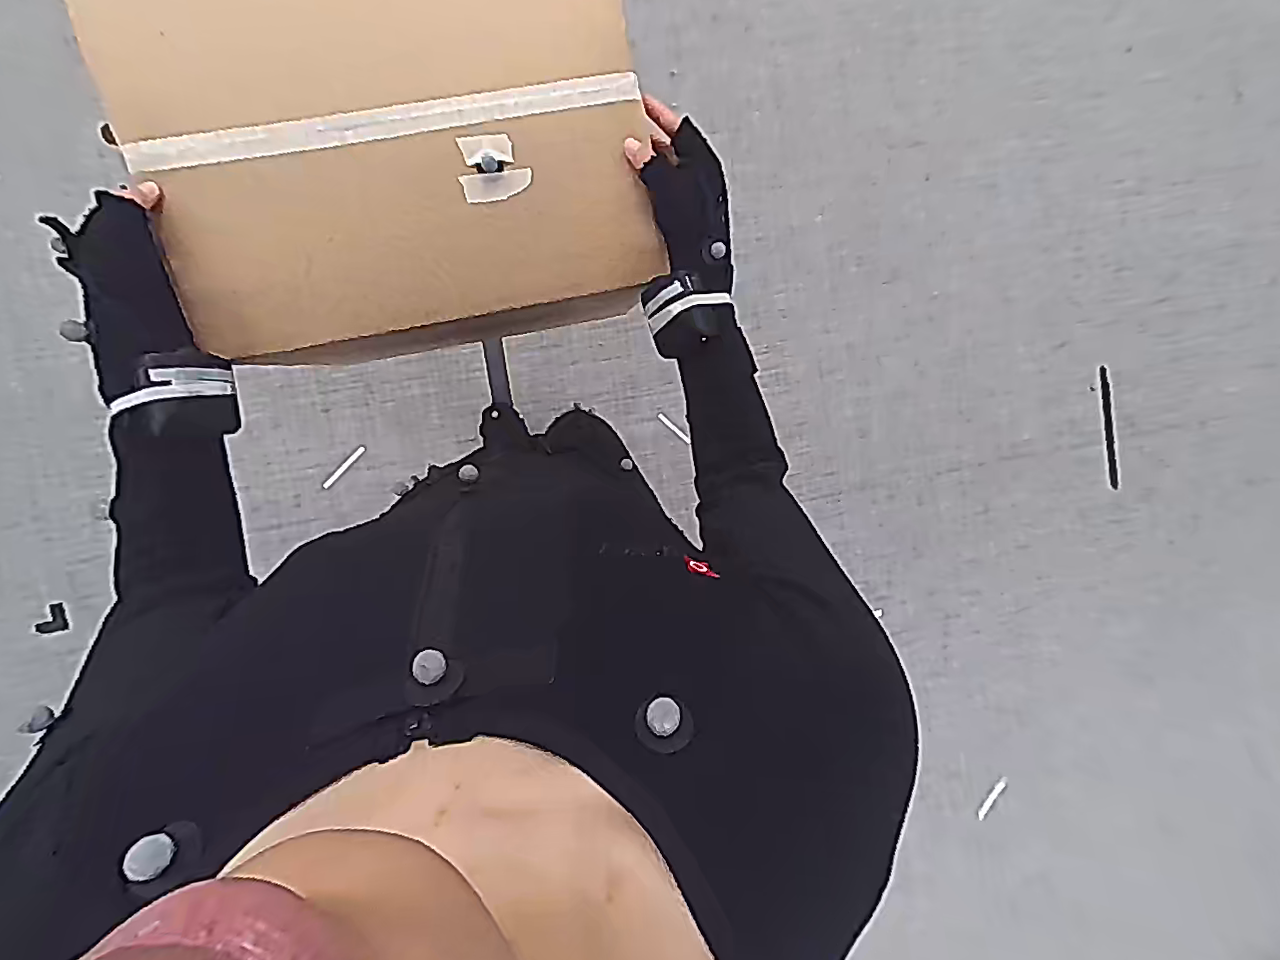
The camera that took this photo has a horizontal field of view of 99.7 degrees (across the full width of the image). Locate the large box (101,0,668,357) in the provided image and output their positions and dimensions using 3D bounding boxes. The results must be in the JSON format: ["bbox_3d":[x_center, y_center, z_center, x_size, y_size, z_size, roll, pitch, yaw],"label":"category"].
[{"bbox_3d":[-0.219,-0.331,0.598,0.408,0.320,0.320,-13,104,-7],"label":"large box"}]
